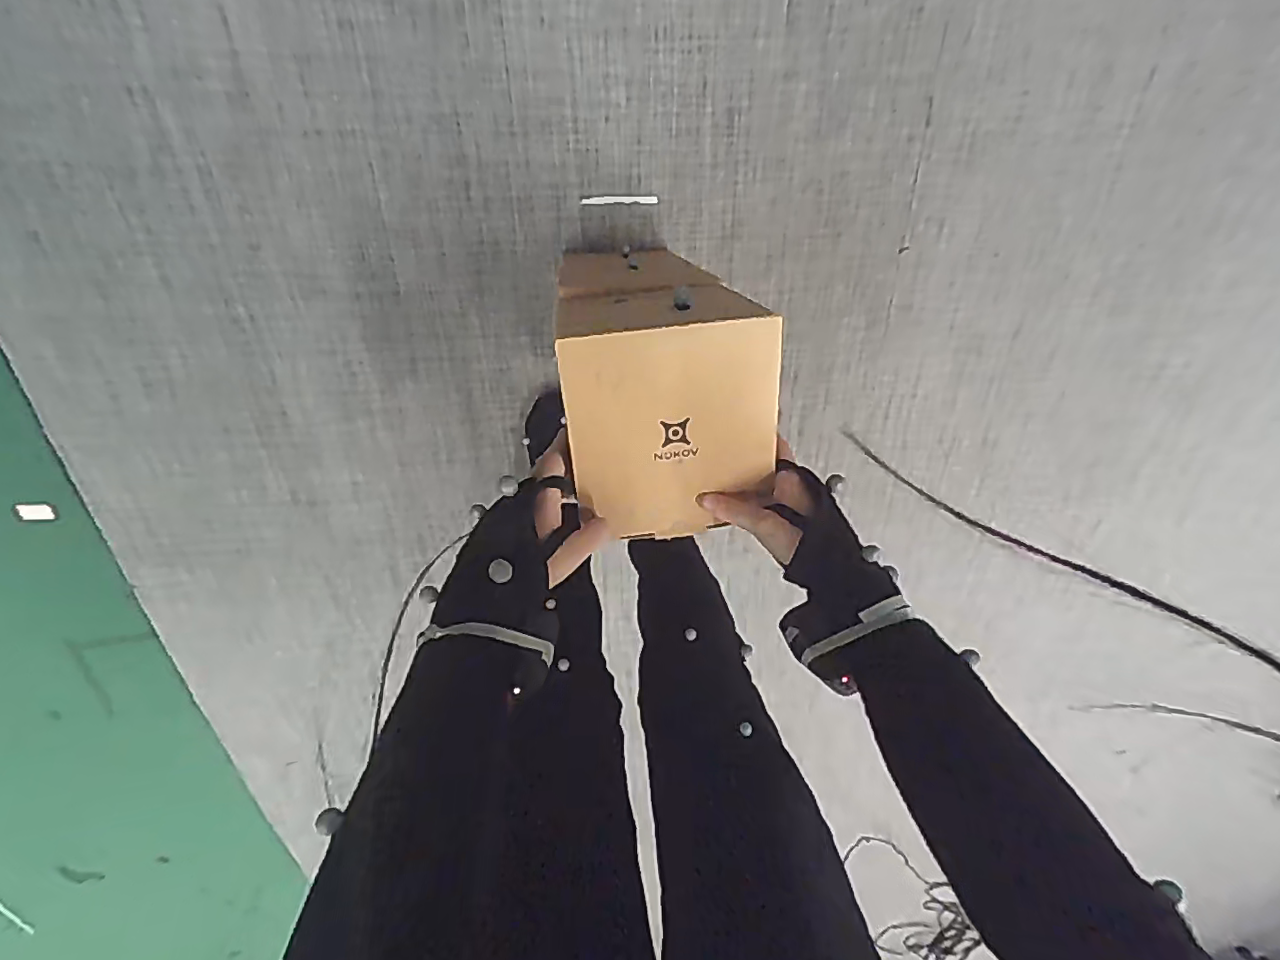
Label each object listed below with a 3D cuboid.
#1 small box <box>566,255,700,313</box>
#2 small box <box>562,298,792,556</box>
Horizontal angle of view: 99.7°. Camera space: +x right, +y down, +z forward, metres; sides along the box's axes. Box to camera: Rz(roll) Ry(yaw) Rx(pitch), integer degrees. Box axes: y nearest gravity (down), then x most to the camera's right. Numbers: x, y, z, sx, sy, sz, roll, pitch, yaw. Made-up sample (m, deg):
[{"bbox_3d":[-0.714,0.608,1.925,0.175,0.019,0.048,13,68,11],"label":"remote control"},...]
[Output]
[{"bbox_3d":[-0.018,-0.219,0.765,0.168,0.176,0.179,-3,120,-6],"label":"small box"},{"bbox_3d":[0.022,-0.059,0.483,0.168,0.176,0.179,-7,120,-4],"label":"small box"}]
